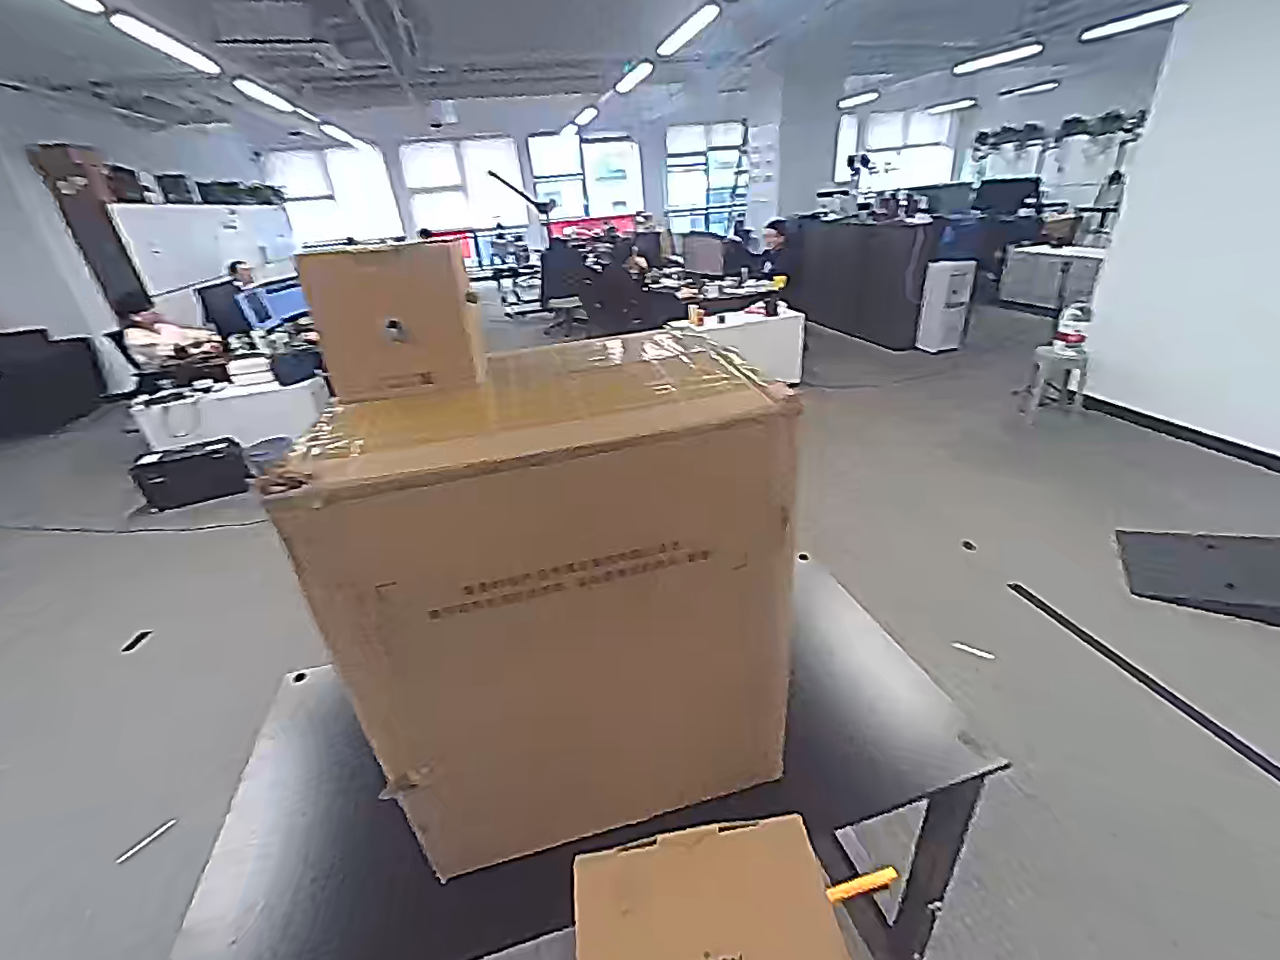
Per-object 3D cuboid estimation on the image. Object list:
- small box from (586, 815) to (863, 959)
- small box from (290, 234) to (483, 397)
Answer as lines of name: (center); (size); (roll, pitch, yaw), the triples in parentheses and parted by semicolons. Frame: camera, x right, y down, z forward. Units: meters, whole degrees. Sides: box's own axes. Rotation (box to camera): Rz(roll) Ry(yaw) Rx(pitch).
small box: (0.057, 0.360, 0.360); (0.168, 0.176, 0.179); (-8, 40, -3)
small box: (-0.298, -0.209, 0.683); (0.168, 0.176, 0.179); (-9, 27, -10)
